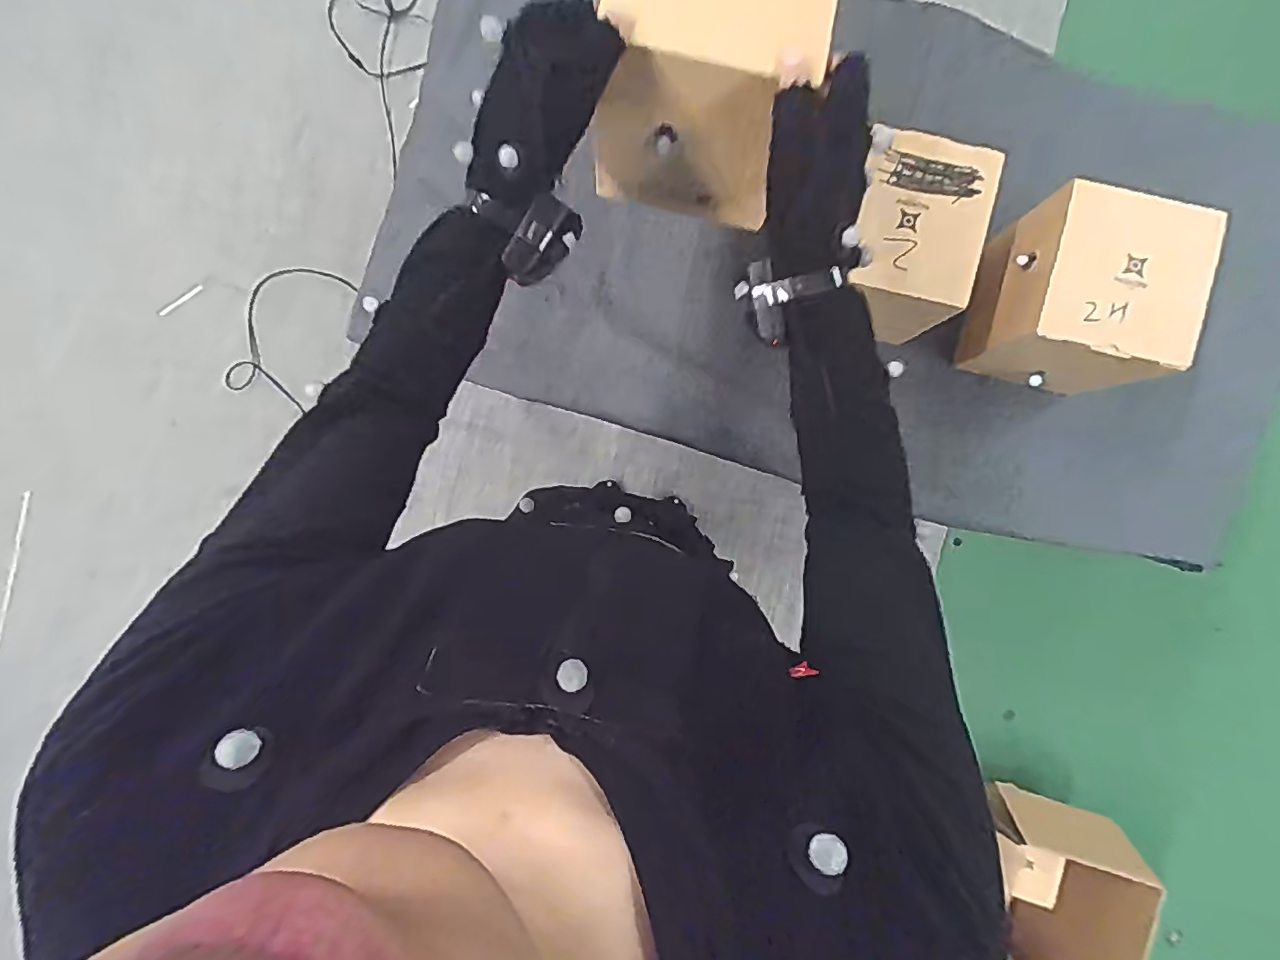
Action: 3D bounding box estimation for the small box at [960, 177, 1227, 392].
[{"bbox_3d":[0.526,-0.221,0.655,0.168,0.176,0.179,14,90,3],"label":"small box"}]
